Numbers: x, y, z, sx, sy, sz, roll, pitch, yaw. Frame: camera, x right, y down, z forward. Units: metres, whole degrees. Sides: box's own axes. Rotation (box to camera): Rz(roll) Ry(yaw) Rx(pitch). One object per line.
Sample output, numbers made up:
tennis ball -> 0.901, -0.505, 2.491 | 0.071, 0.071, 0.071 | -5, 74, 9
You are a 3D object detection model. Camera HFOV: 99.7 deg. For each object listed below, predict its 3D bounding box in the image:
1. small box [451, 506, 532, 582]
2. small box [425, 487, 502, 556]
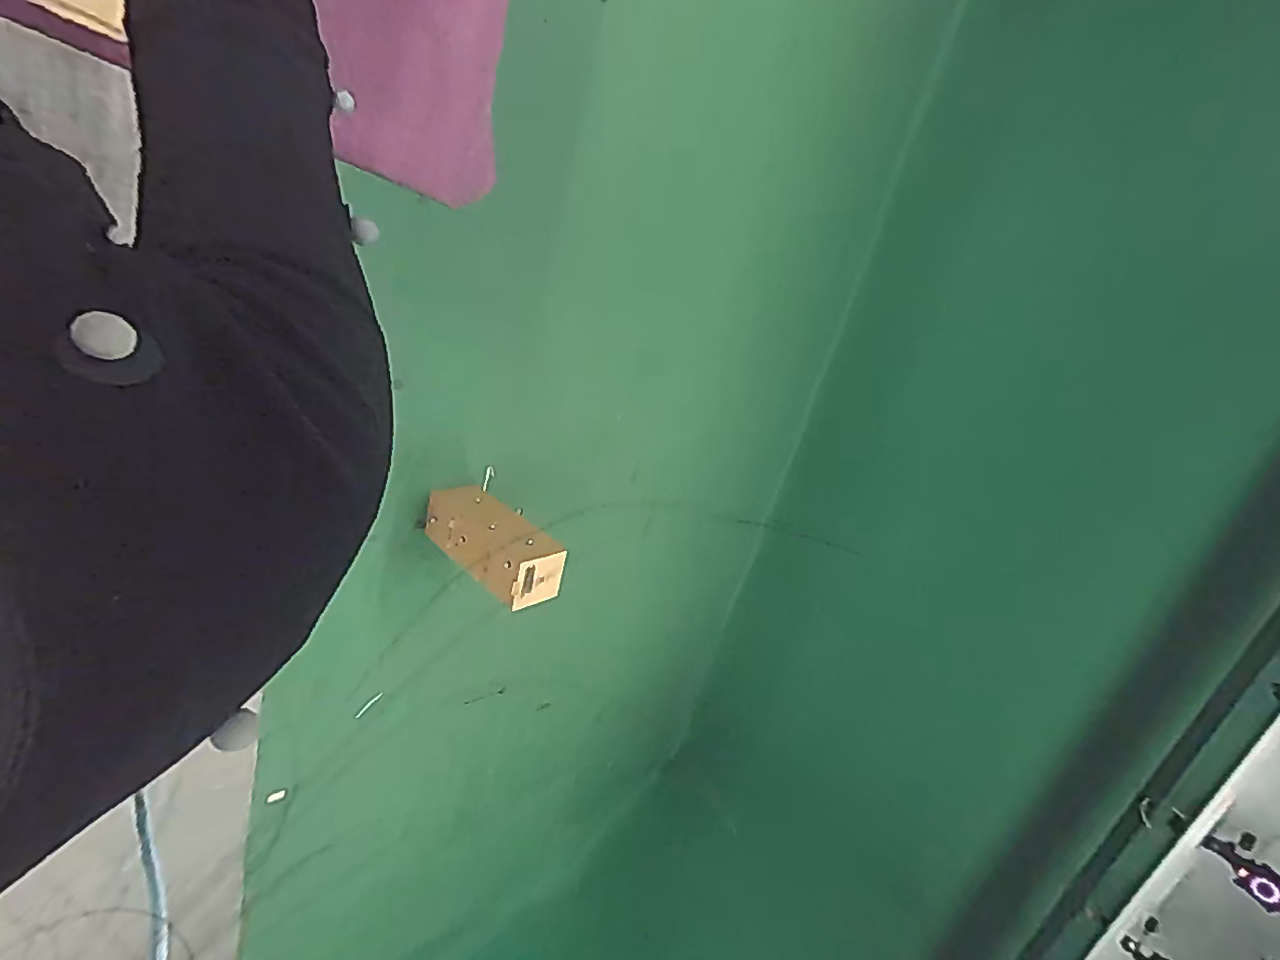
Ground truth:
small box -> -0.474, 0.194, 1.722 | 0.179, 0.176, 0.168 | -9, 121, -48
small box -> -0.592, 0.133, 1.814 | 0.179, 0.176, 0.168 | -7, 118, -50
